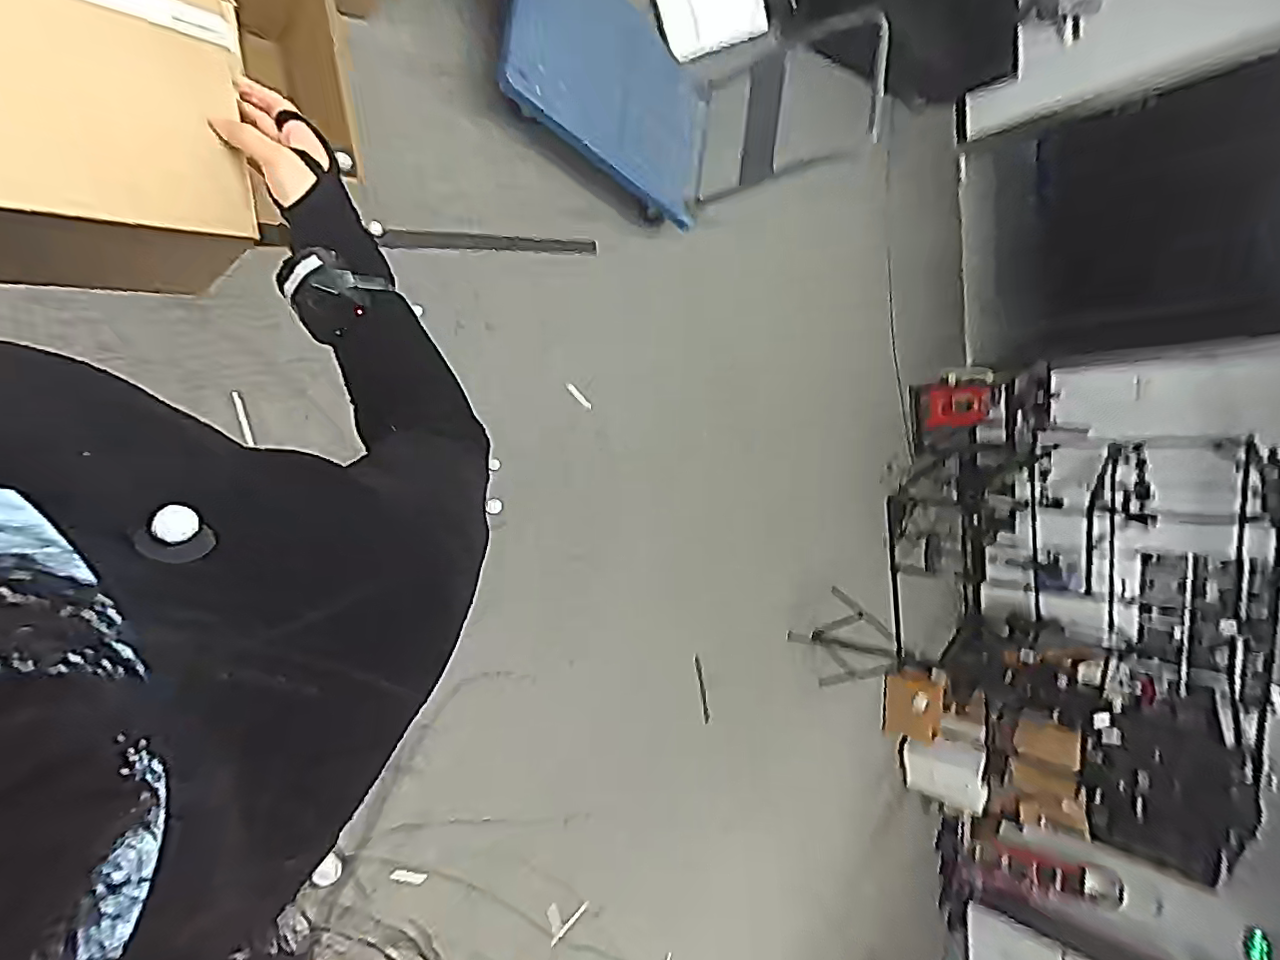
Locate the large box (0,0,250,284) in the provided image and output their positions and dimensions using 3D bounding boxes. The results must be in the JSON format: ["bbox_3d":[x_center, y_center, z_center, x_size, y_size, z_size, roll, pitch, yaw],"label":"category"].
[{"bbox_3d":[-0.595,-0.341,0.412,0.408,0.320,0.320,-15,104,-44],"label":"large box"}]
